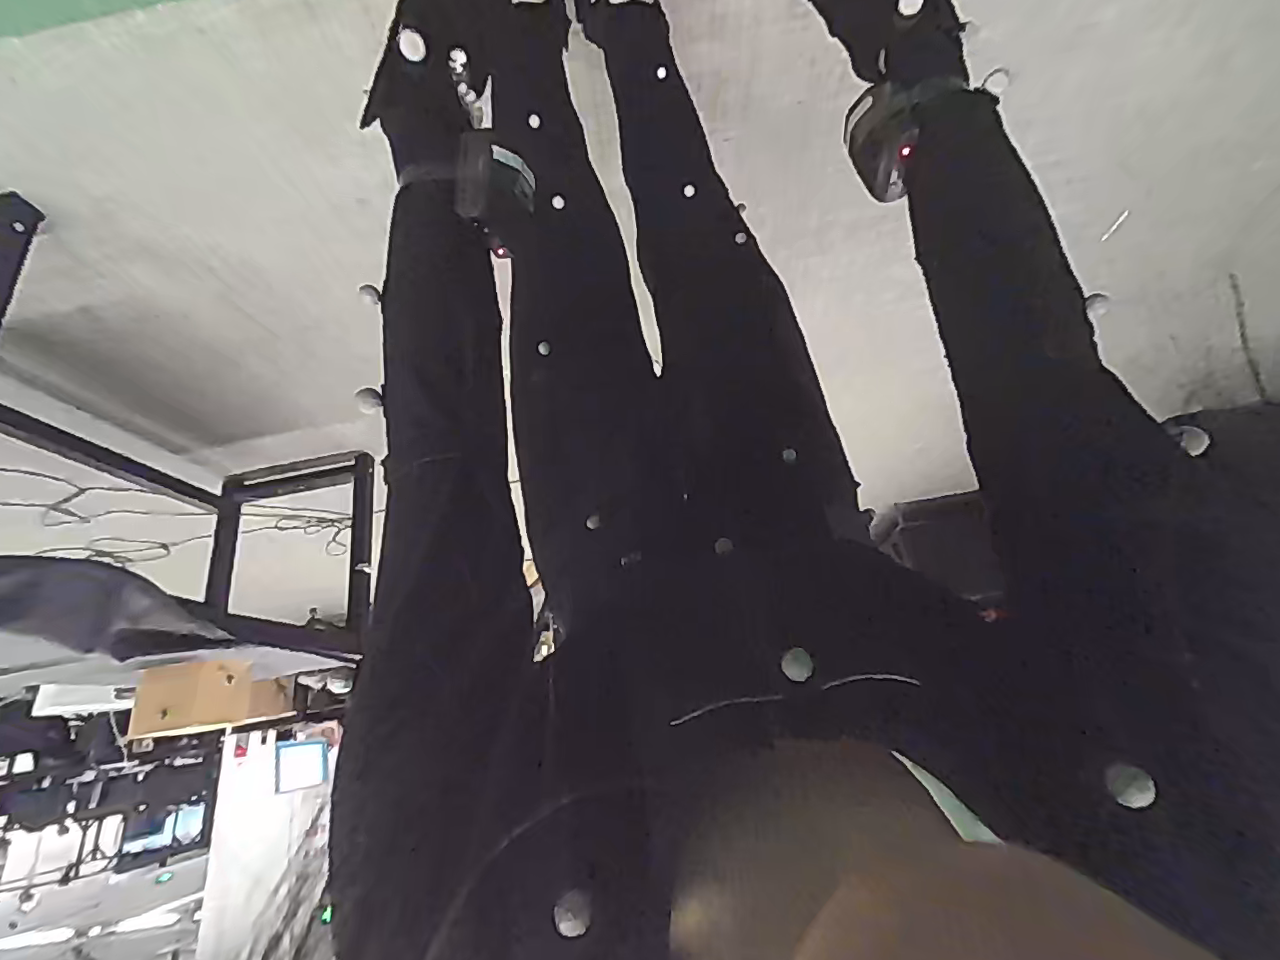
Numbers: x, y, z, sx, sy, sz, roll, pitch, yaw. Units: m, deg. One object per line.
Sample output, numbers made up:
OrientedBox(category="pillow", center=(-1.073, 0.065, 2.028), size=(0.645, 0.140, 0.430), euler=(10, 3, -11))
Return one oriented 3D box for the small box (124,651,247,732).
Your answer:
OrientedBox(category="small box", center=(-1.176, 0.554, 1.415), size=(0.179, 0.176, 0.168), euler=(-11, 157, 4))
